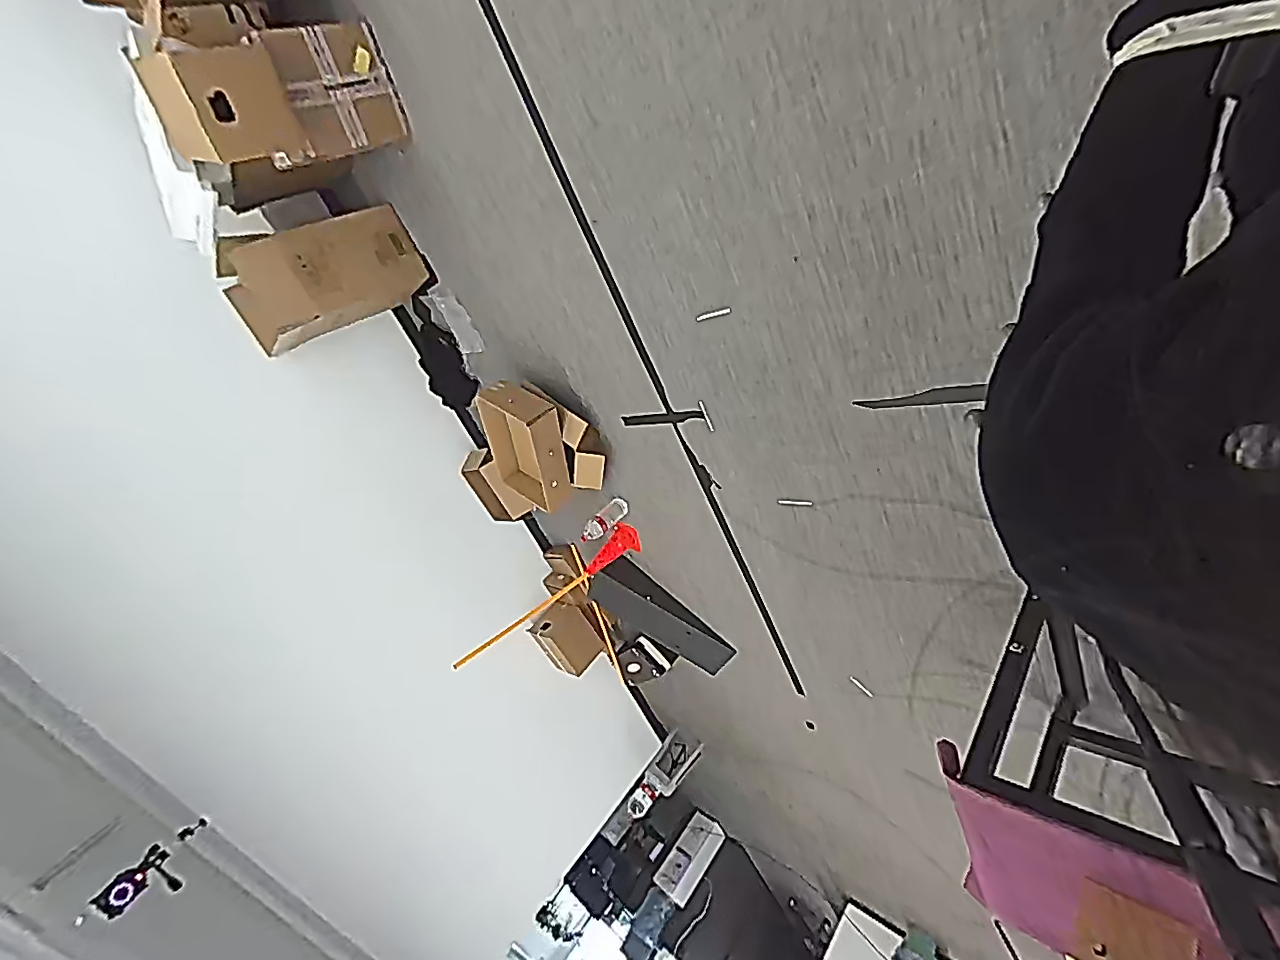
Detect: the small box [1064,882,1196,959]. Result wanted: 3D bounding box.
[{"bbox_3d":[0.989,0.963,1.091,0.179,0.176,0.168,4,128,48],"label":"small box"}]
